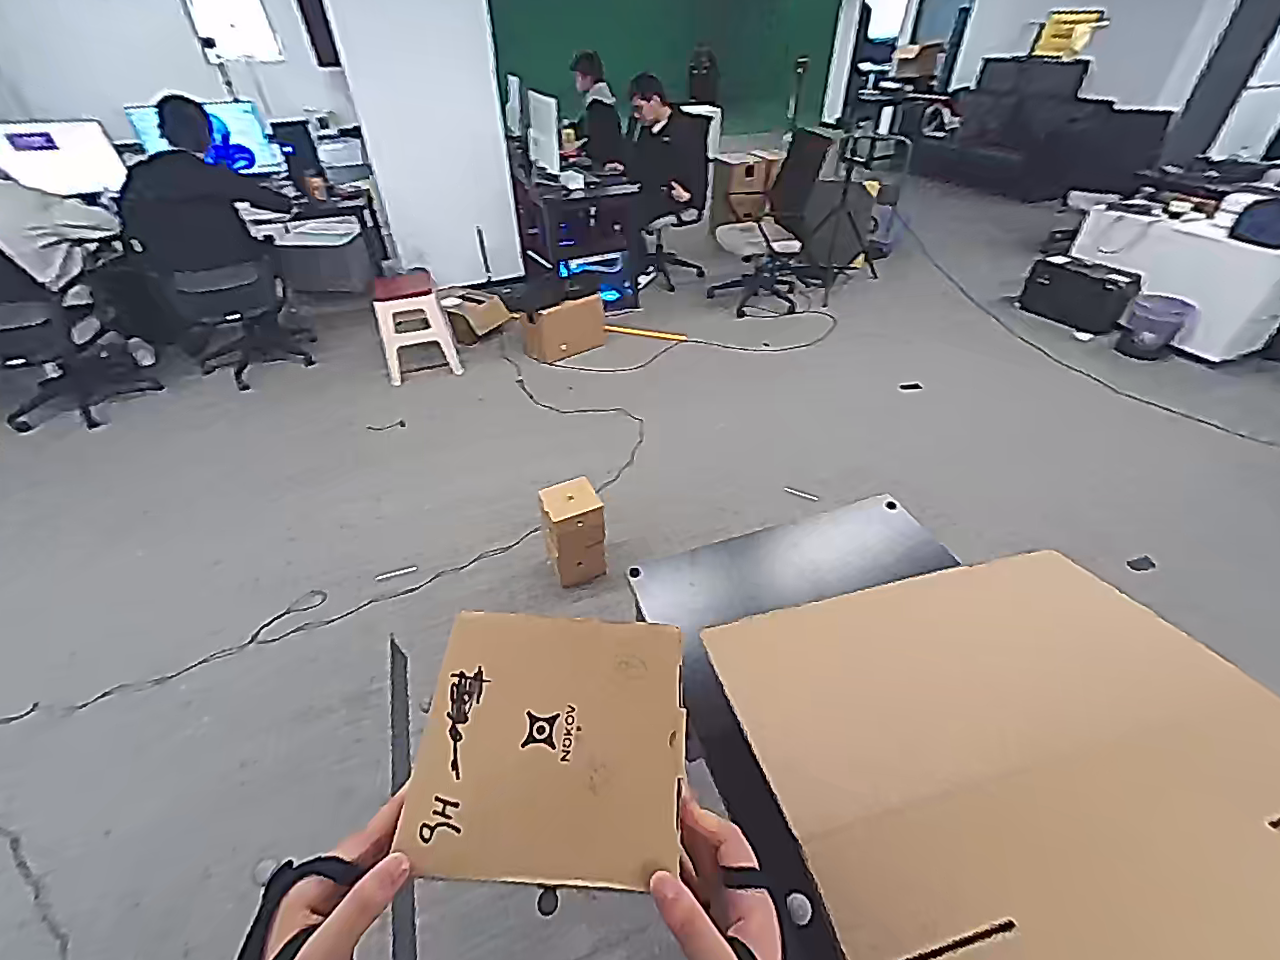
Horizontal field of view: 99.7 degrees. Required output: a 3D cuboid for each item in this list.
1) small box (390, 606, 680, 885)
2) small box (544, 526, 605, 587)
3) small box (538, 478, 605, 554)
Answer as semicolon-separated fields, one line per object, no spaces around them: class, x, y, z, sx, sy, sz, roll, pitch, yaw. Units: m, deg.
small box;-0.066;0.219;0.437;0.179;0.176;0.168;5;51;-2
small box;-0.232;0.251;1.938;0.179;0.176;0.168;-17;43;-17
small box;-0.229;0.125;1.834;0.179;0.176;0.168;-18;44;-20
